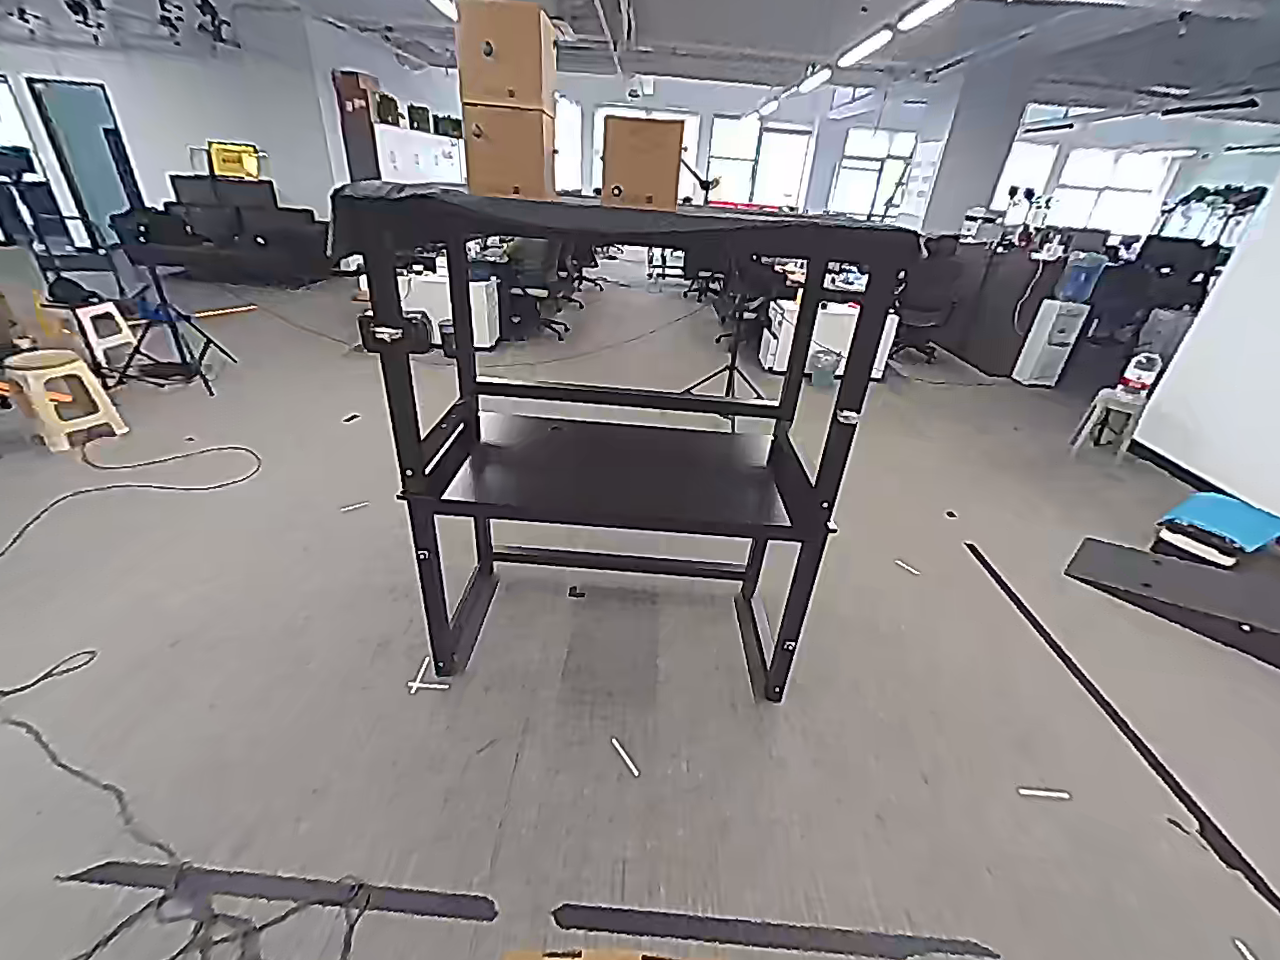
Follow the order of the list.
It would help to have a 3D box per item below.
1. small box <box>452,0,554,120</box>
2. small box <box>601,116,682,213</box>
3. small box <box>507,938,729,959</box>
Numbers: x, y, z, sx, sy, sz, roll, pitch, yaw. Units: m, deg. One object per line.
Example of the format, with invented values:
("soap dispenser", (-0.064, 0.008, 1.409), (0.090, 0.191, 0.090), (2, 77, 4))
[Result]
("small box", (-0.272, -0.852, 1.113), (0.168, 0.176, 0.179), (4, 27, -1))
("small box", (0.003, -0.690, 1.194), (0.168, 0.176, 0.179), (5, 27, 0))
("small box", (-0.019, 0.454, 0.363), (0.168, 0.176, 0.179), (-1, 31, 3))
